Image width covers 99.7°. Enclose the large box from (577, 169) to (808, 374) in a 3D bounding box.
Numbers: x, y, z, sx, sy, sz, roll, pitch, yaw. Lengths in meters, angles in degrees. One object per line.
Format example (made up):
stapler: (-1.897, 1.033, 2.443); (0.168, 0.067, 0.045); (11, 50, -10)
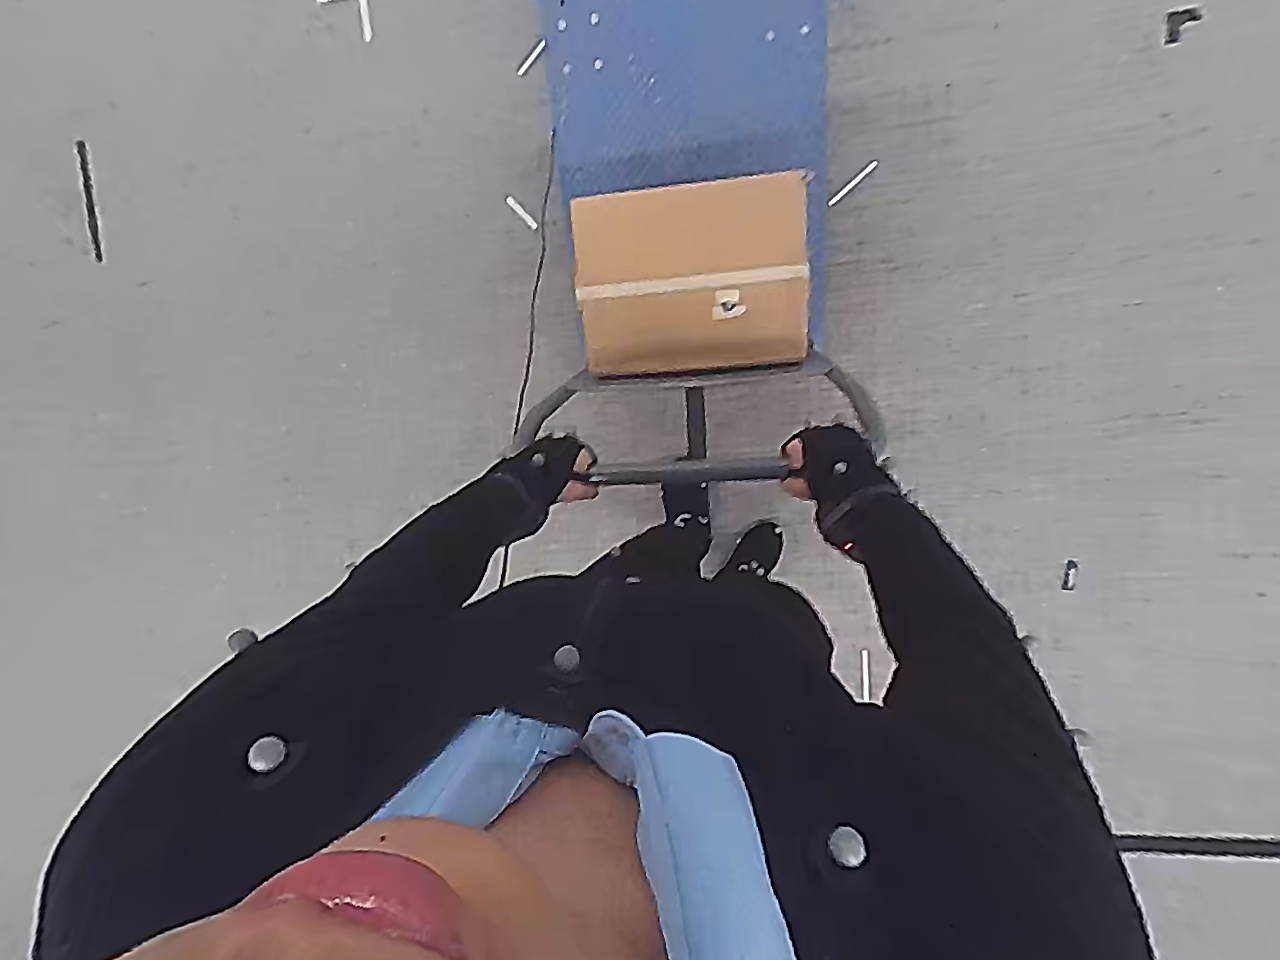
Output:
large box: (0.113, -0.407, 1.119); (0.408, 0.320, 0.320); (-3, 107, 8)
